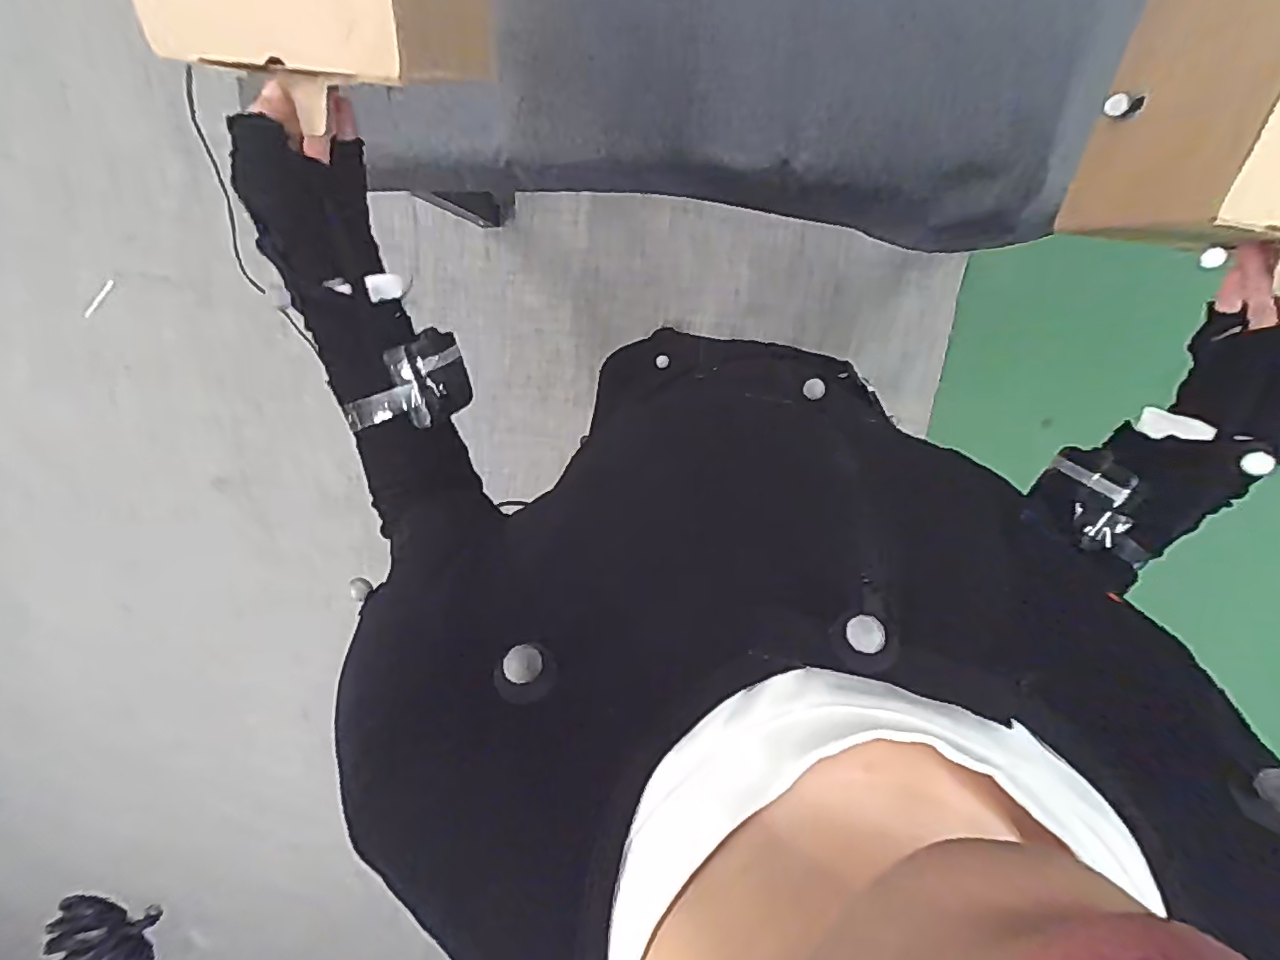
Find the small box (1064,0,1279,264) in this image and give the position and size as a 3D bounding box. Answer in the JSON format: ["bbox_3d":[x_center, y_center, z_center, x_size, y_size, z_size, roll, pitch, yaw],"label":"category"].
[{"bbox_3d":[0.444,-0.249,0.369,0.168,0.176,0.179,9,114,2],"label":"small box"}]
